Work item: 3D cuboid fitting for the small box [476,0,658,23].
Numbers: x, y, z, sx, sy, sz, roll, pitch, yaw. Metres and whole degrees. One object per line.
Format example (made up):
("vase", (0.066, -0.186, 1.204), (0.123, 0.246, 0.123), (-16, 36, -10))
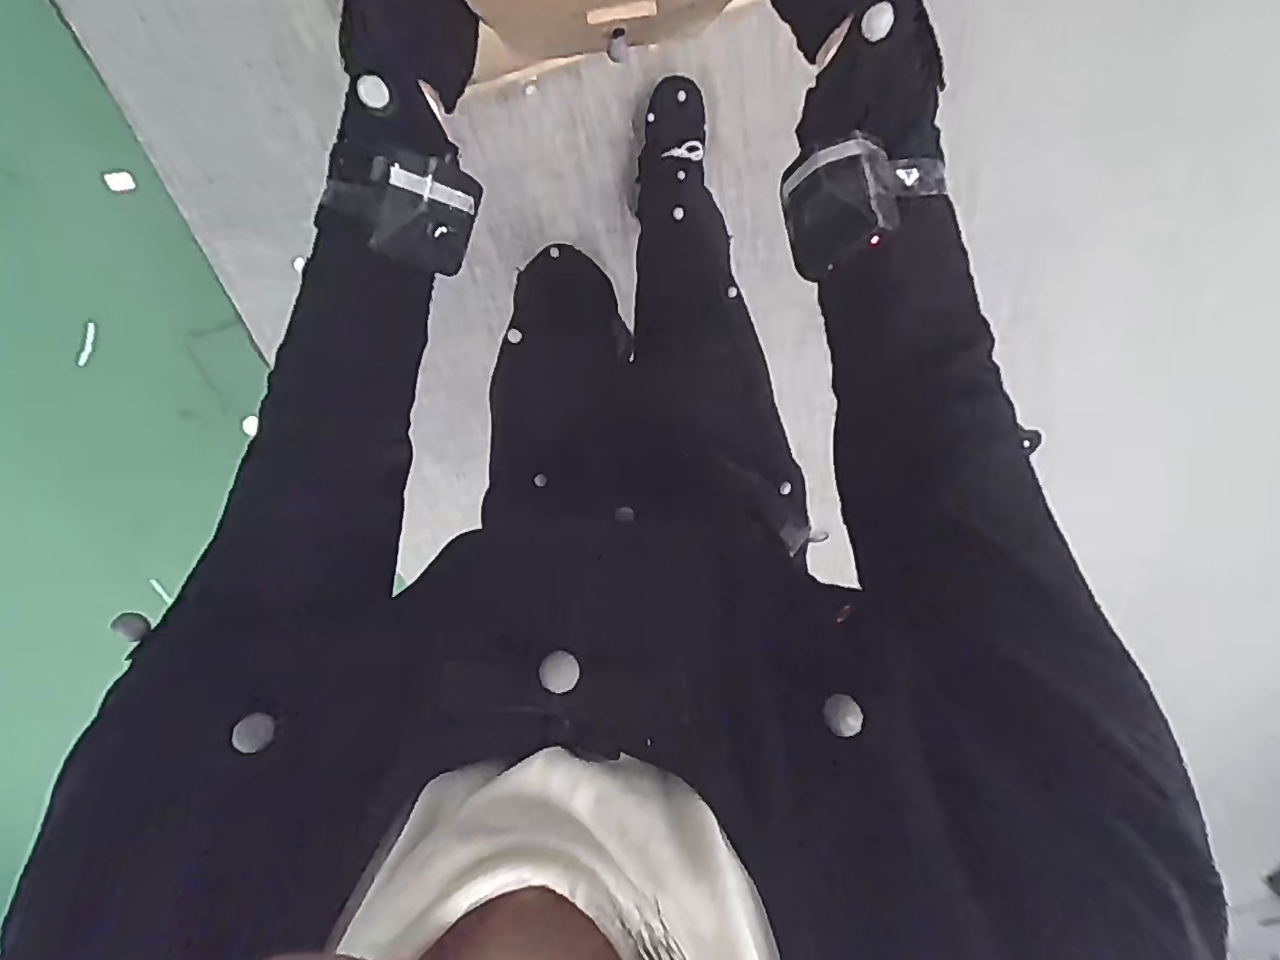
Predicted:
("small box", (-0.023, -0.329, 0.231), (0.168, 0.176, 0.179), (-10, 119, 1))

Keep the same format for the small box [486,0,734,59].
("small box", (-0.031, -0.412, 0.372), (0.168, 0.176, 0.179), (-8, 121, 1))
